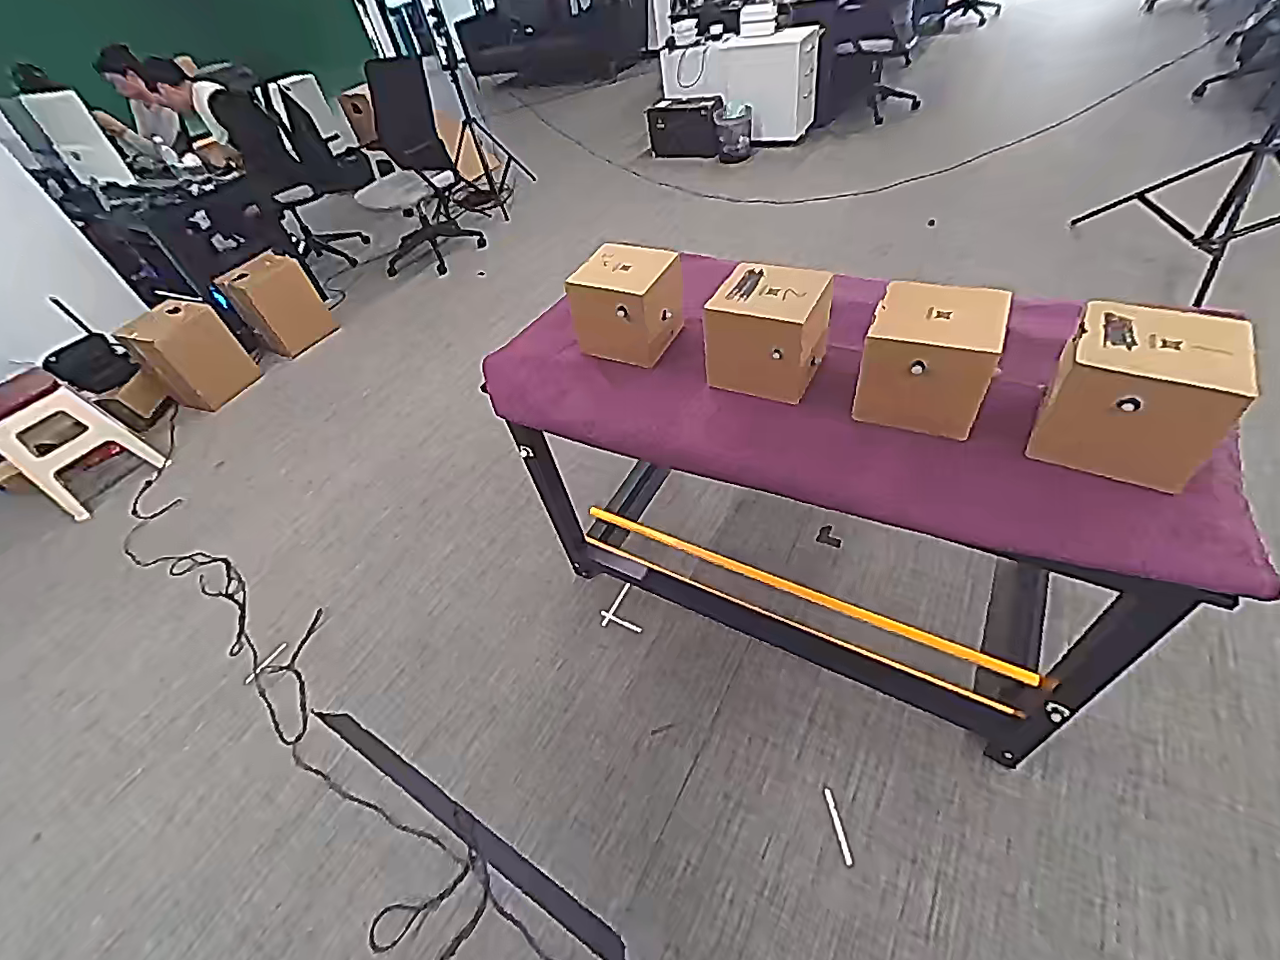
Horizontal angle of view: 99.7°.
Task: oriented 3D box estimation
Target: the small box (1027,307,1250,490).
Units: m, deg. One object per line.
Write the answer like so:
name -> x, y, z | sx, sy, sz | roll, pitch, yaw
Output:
small box -> 0.670, -0.112, 0.746 | 0.179, 0.176, 0.168 | 21, 54, 28

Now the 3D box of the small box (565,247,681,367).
small box -> -0.024, -0.355, 1.119 | 0.179, 0.176, 0.168 | 17, 53, 23

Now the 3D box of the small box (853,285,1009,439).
small box -> 0.458, -0.187, 0.867 | 0.179, 0.176, 0.168 | 16, 53, 25
